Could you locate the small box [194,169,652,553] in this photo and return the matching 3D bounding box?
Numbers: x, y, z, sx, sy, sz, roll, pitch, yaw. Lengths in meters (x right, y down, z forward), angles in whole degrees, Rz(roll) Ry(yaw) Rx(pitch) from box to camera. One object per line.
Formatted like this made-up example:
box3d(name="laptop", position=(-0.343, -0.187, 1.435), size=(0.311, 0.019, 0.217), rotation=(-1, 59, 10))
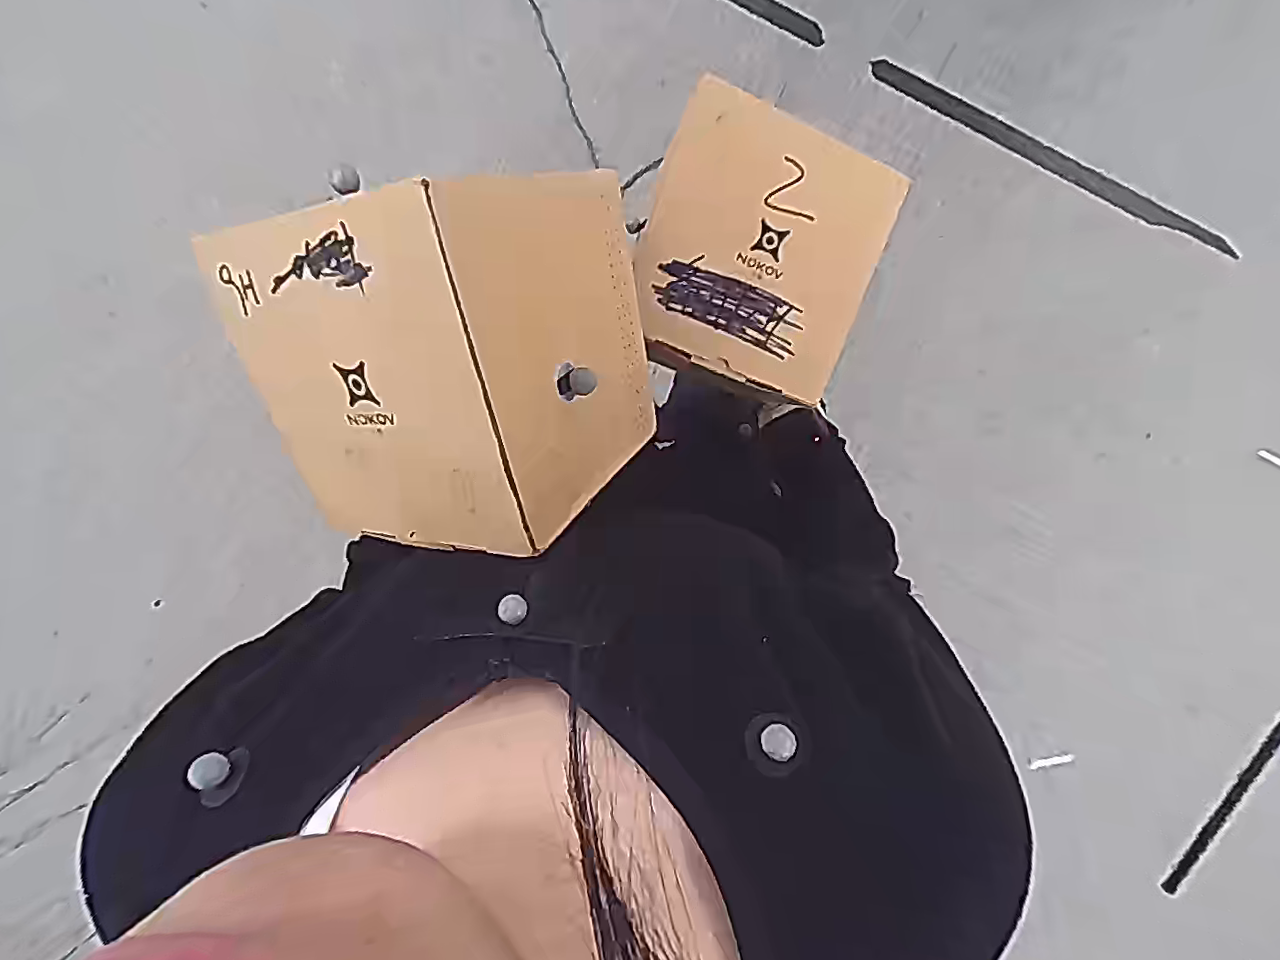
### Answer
box3d(name="small box", position=(-0.104, -0.079, 0.338), size=(0.168, 0.176, 0.179), rotation=(2, 119, 25))
